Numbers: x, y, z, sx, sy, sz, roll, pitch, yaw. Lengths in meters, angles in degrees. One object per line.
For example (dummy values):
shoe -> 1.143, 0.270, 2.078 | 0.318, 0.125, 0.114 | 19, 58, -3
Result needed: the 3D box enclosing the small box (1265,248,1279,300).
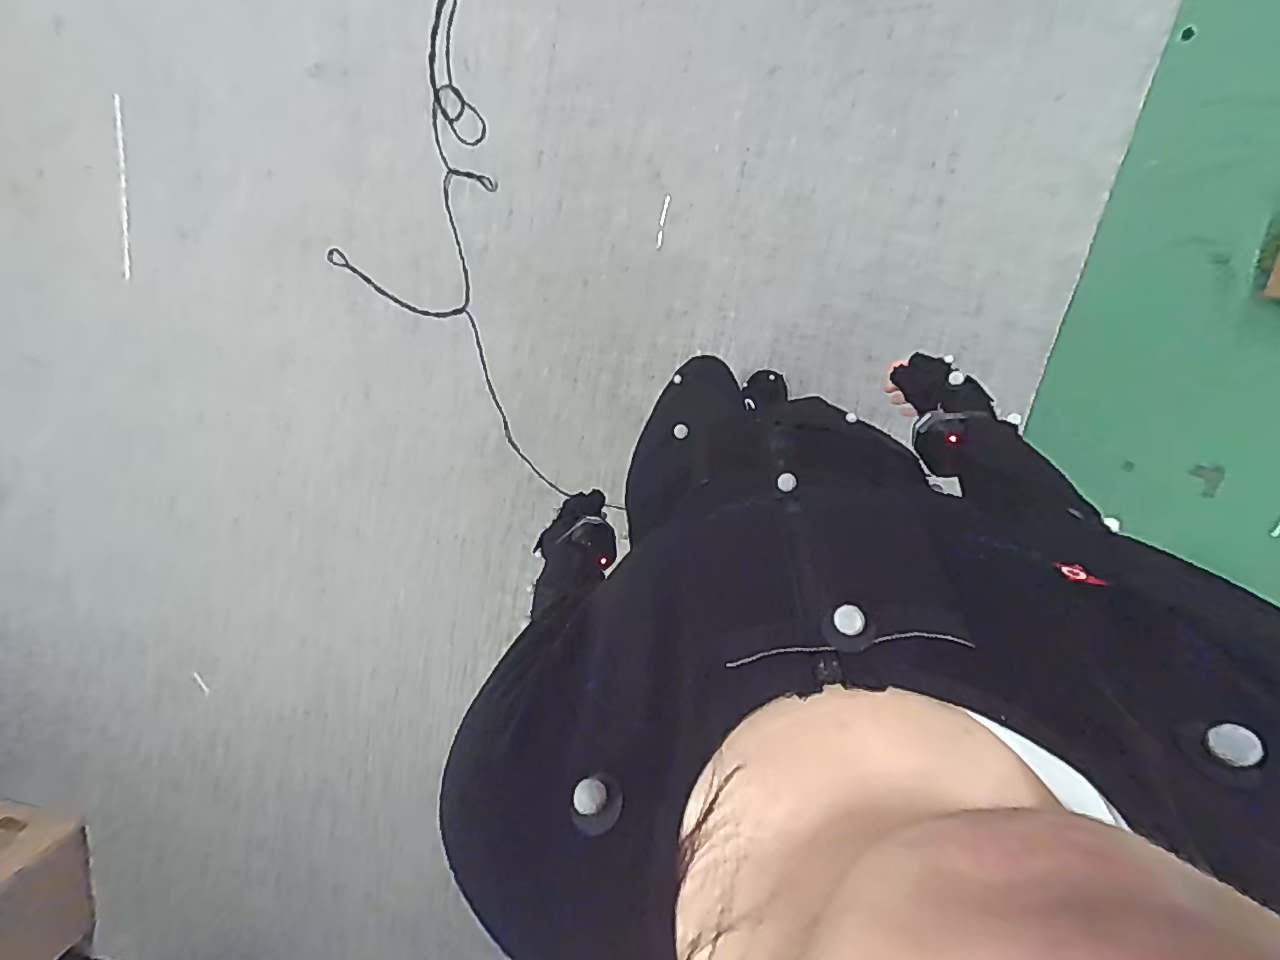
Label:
small box -> 1.490, -0.464, 1.125 | 0.168, 0.176, 0.179 | 10, 102, 5
